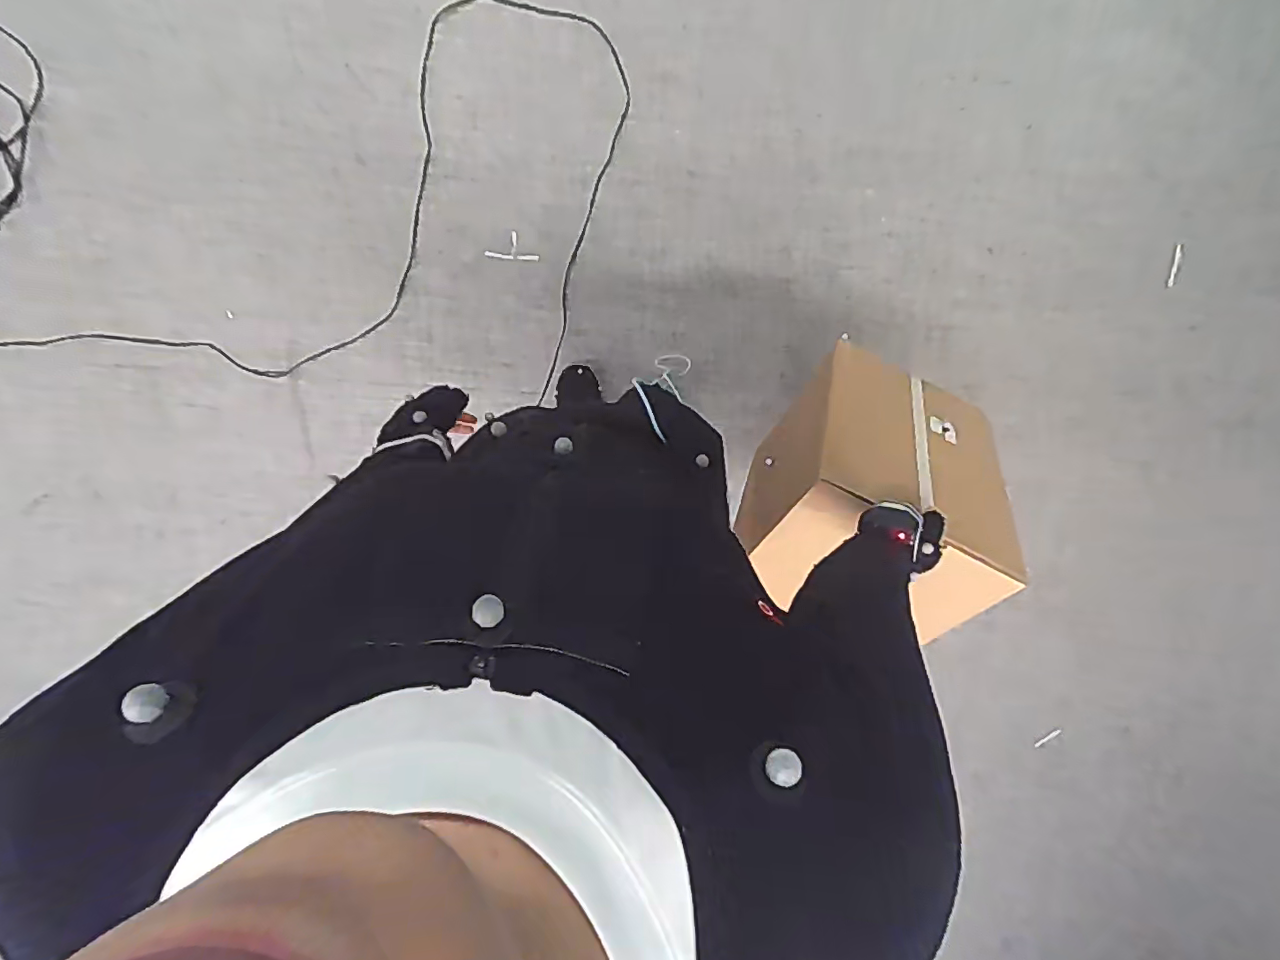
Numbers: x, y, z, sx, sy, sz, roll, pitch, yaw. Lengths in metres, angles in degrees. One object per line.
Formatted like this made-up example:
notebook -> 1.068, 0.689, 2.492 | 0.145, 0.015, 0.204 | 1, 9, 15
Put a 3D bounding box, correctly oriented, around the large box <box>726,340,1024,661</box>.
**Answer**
large box -> 0.382, 0.032, 0.954 | 0.320, 0.408, 0.320 | 28, 135, -2
